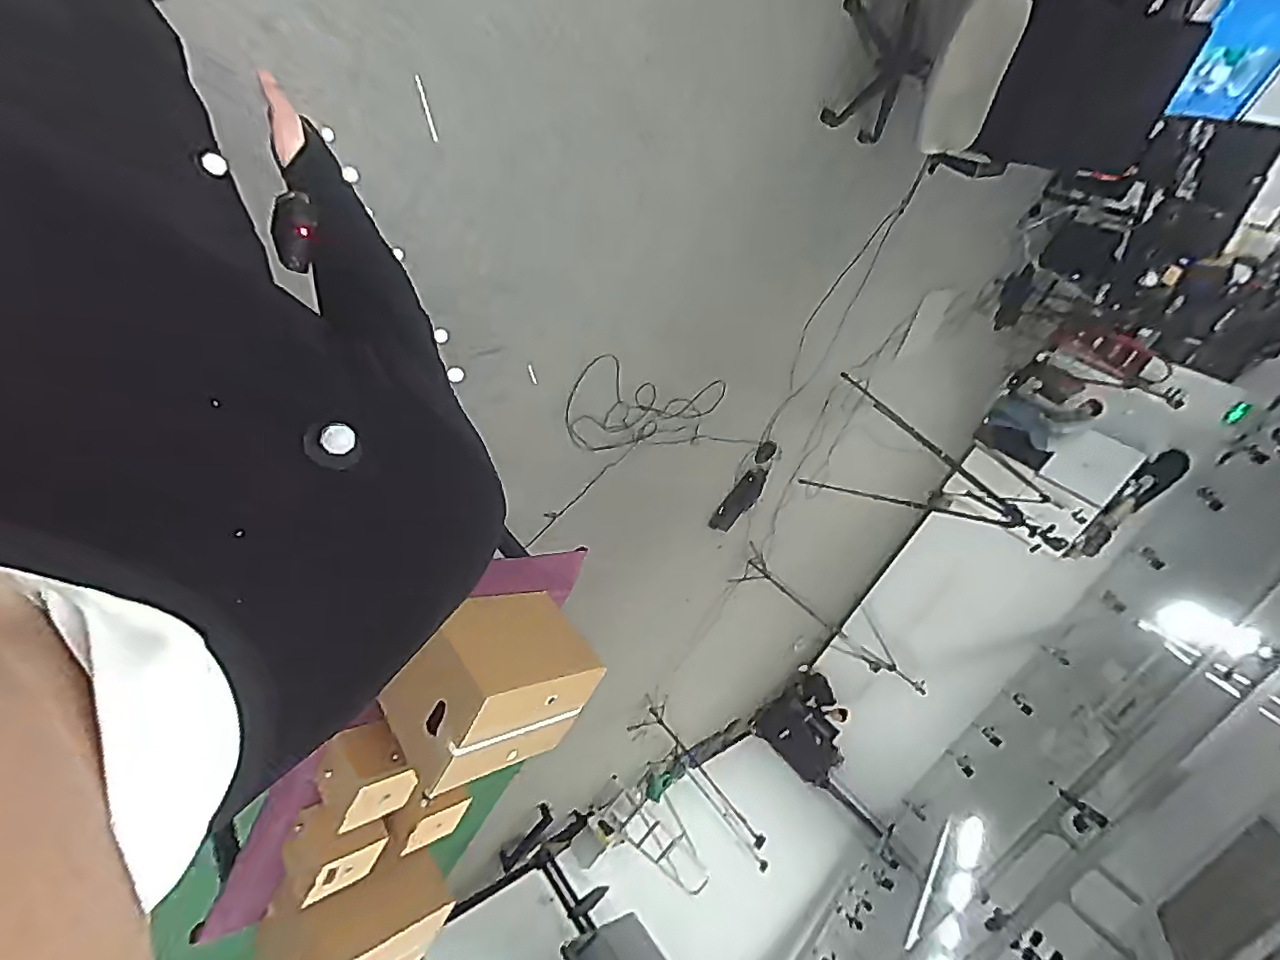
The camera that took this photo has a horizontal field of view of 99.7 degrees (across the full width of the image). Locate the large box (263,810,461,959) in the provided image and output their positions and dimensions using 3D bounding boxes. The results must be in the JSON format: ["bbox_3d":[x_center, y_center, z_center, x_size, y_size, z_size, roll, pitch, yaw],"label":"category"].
[{"bbox_3d":[-0.849,1.316,1.664,0.408,0.320,0.320,12,112,-54],"label":"large box"}]

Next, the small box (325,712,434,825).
[{"bbox_3d":[-0.679,0.737,1.406,0.179,0.176,0.168,8,116,-55],"label":"small box"}]
